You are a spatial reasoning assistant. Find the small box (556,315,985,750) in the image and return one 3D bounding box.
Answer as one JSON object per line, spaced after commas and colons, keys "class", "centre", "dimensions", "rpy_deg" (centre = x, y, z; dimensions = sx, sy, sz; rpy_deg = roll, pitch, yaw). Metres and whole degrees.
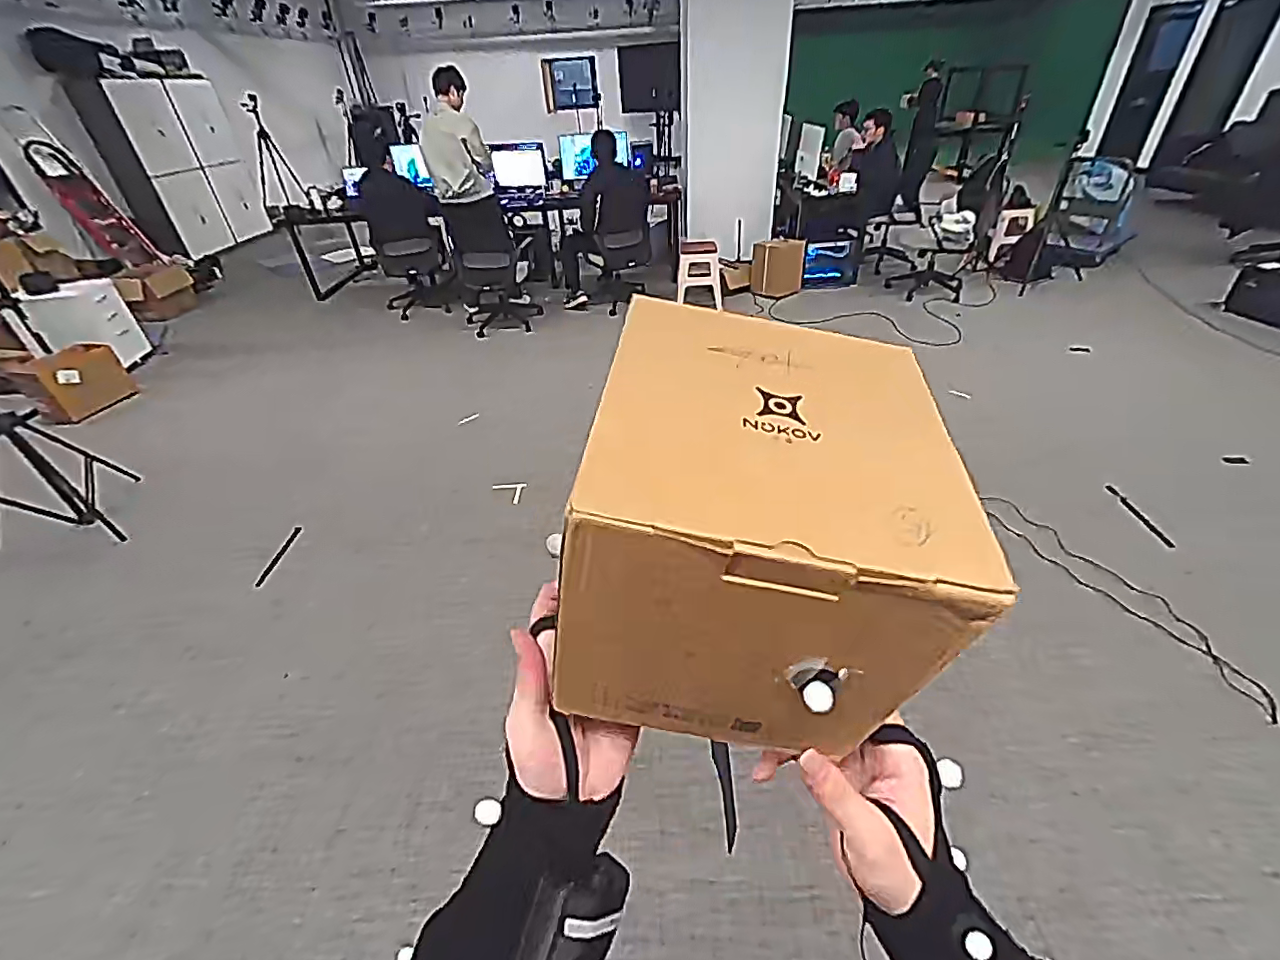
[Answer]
{"class": "small box", "centre": [0.048, 0.033, 0.316], "dimensions": [0.168, 0.176, 0.179], "rpy_deg": [11, 43, -2]}
